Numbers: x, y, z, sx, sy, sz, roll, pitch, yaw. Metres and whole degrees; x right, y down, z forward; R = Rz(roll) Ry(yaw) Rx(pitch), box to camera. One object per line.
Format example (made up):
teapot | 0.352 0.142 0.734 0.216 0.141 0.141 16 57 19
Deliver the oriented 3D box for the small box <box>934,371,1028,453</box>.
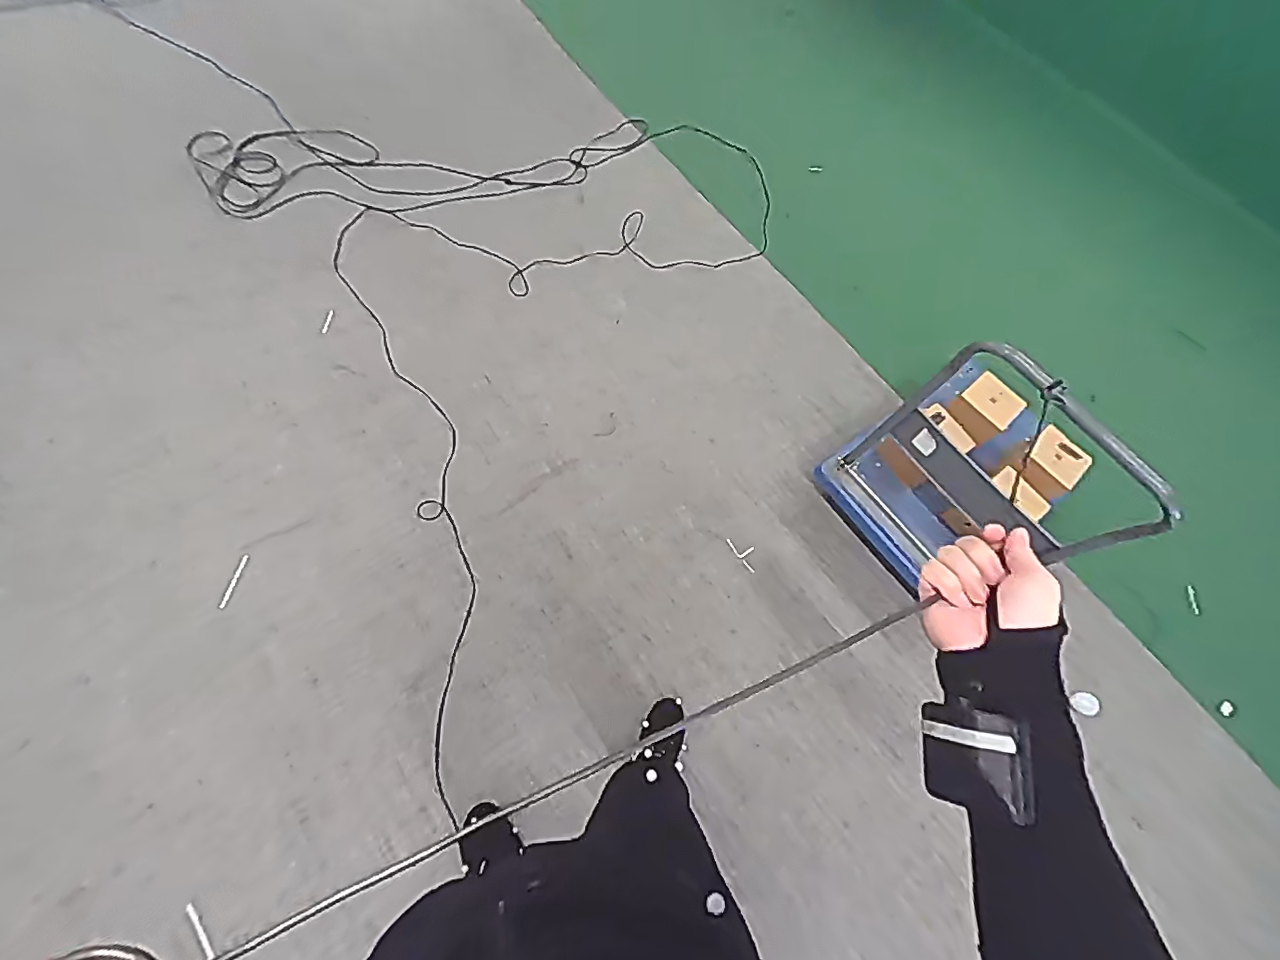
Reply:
small box | 1.115 -0.219 1.788 0.179 0.176 0.168 -35 76 -24

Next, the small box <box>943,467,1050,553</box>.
small box | 1.065 0.094 1.628 0.179 0.176 0.168 -31 74 -21

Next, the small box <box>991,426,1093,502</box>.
small box | 1.278 -0.036 1.731 0.179 0.176 0.168 -35 75 -22
